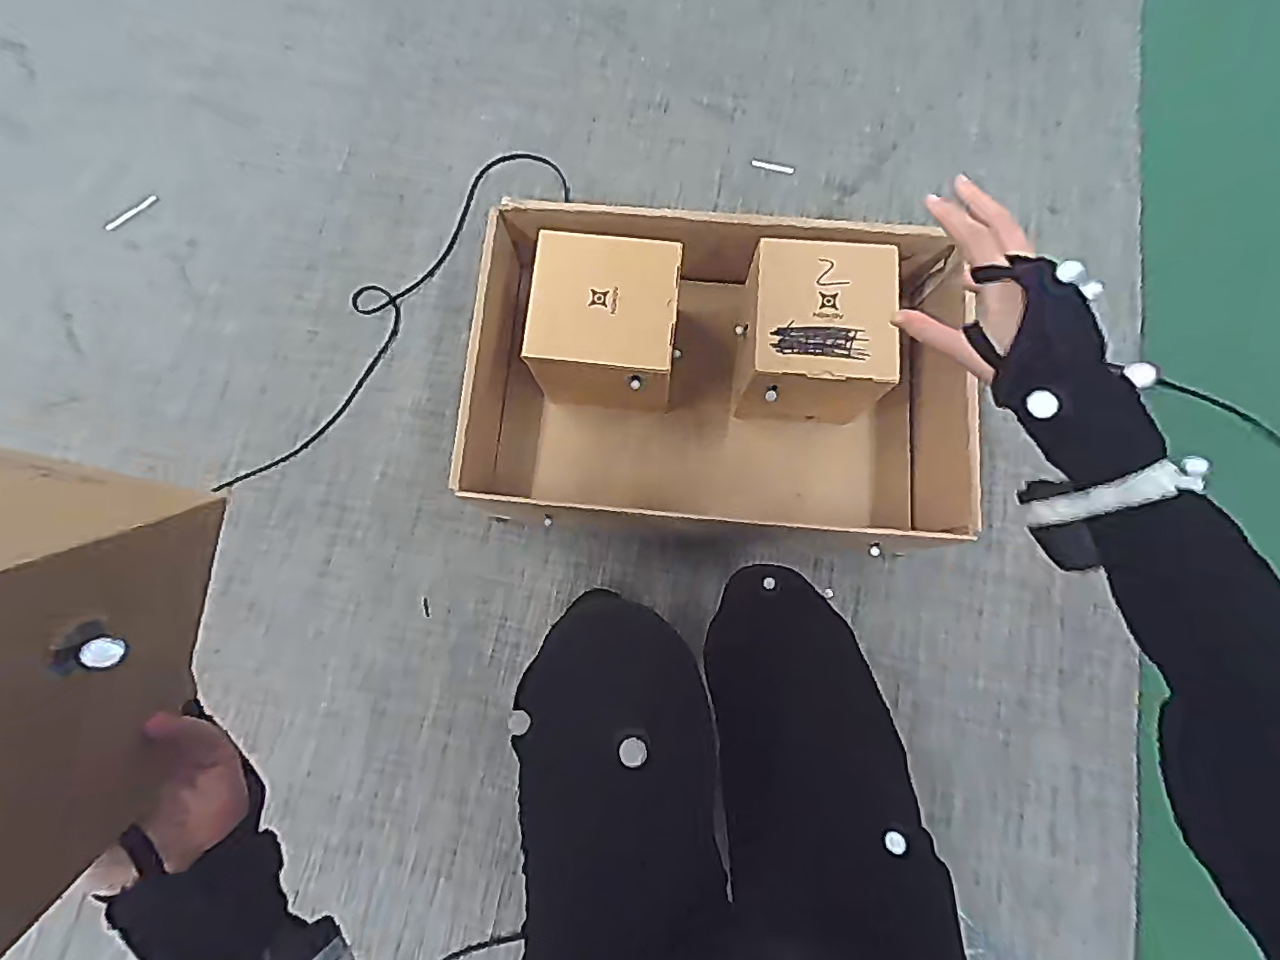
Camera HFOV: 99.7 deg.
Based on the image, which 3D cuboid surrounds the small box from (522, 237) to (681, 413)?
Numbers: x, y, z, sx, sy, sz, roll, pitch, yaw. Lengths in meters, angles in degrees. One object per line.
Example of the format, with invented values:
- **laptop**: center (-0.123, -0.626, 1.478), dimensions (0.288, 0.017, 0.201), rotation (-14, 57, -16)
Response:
- **small box**: center (-0.044, -0.194, 0.719), dimensions (0.179, 0.176, 0.168), rotation (5, 81, 1)

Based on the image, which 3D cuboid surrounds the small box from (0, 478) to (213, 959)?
- **small box**: center (-0.308, 0.092, 0.203), dimensions (0.168, 0.176, 0.179), rotation (15, 96, -11)
